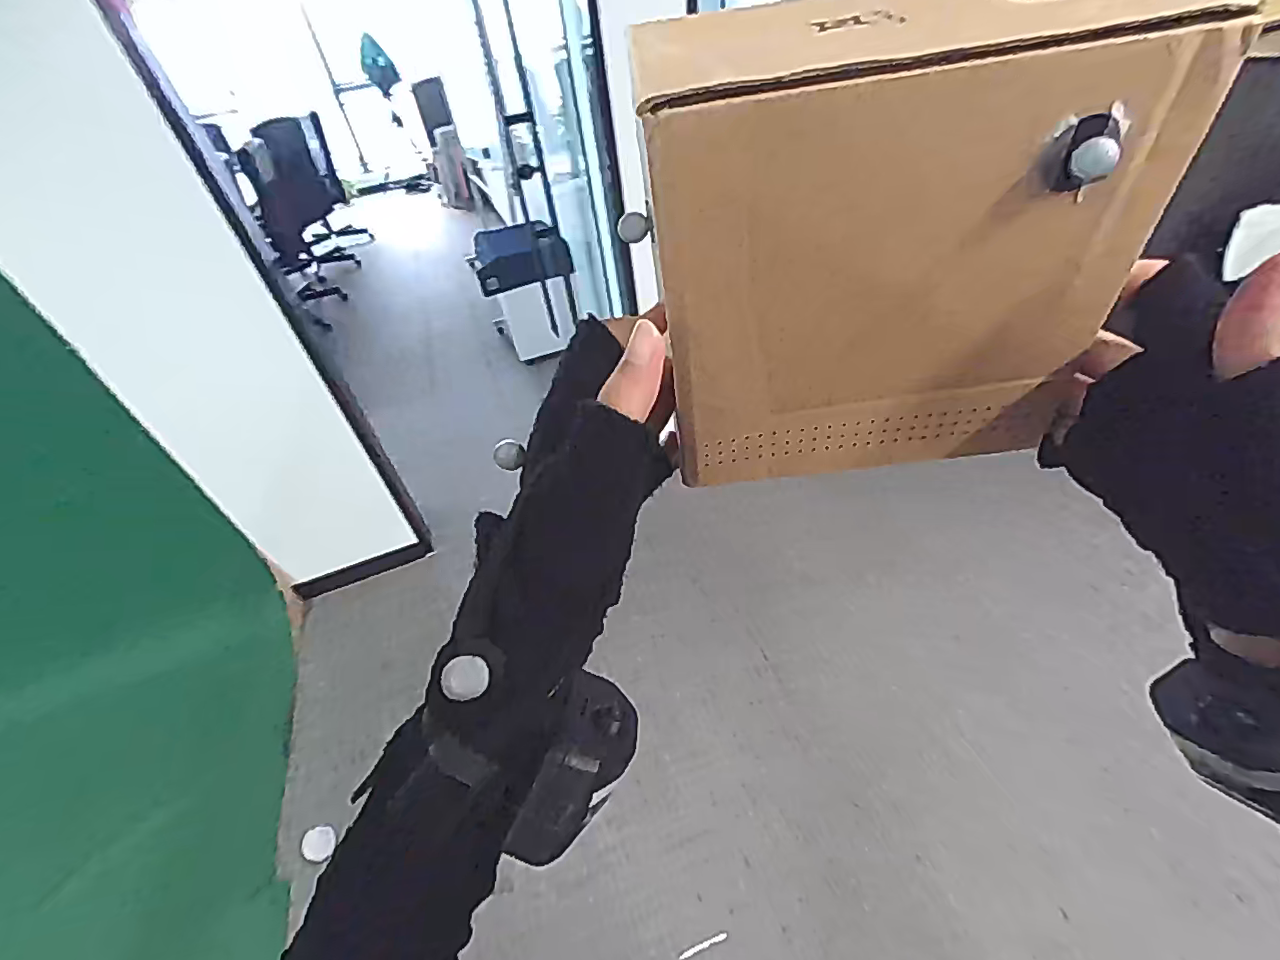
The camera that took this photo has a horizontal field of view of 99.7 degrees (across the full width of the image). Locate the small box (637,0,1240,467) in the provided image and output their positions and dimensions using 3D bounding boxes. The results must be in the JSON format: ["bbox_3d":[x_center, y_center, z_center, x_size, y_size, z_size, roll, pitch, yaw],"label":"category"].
[{"bbox_3d":[0.097,-0.122,0.272,0.179,0.176,0.168,-6,46,4],"label":"small box"}]
